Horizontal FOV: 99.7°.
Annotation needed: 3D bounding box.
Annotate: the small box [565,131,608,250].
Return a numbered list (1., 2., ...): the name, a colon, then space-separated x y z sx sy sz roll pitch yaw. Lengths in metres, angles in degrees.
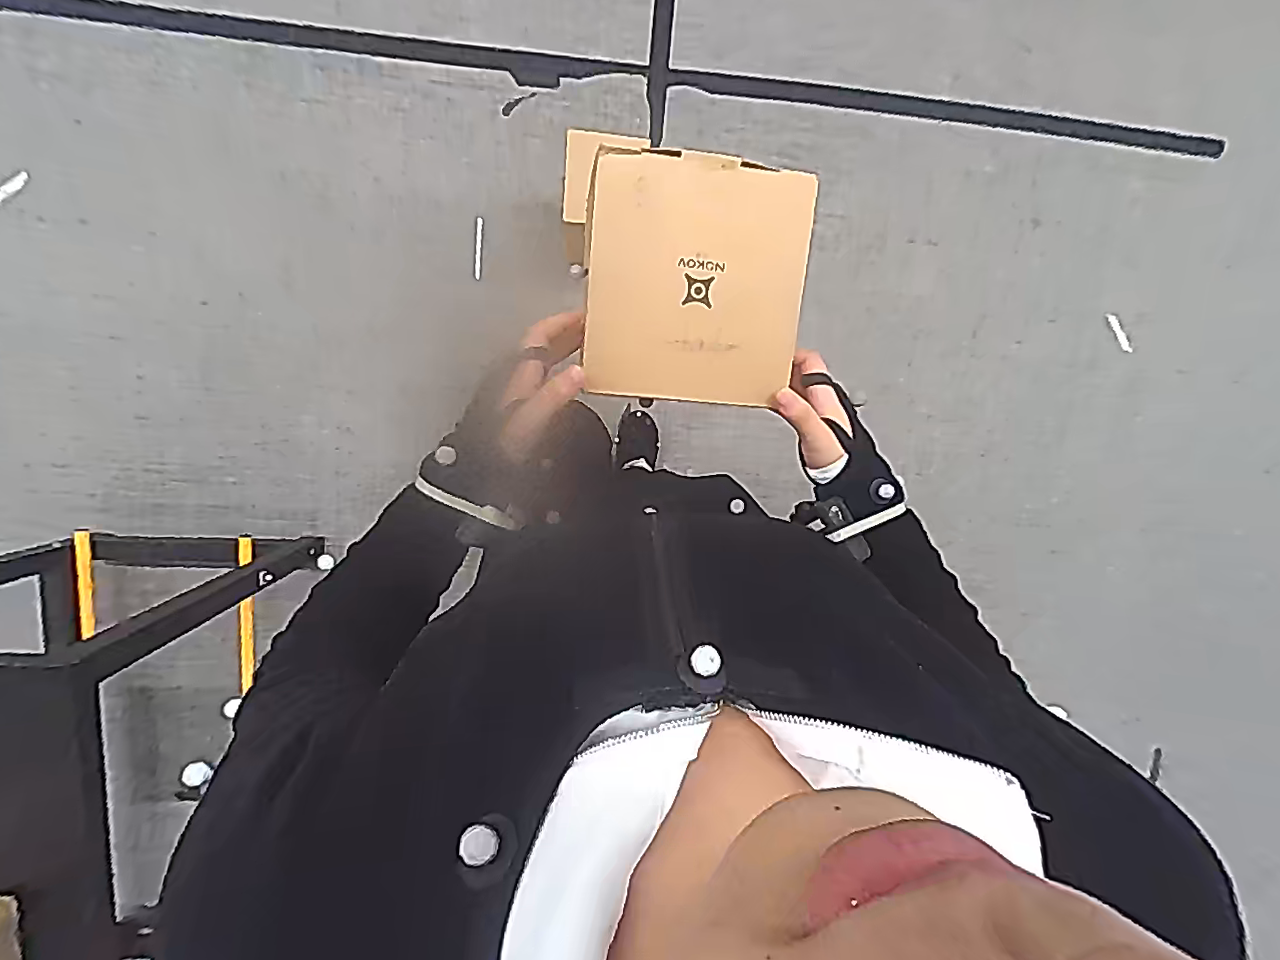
1. small box: -0.070 -0.597 1.145 0.168 0.176 0.179 4 98 -6

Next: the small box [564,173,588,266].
1. small box: -0.090 -0.619 1.307 0.179 0.176 0.168 0 98 -6

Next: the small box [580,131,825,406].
1. small box: 0.037 -0.166 0.474 0.168 0.176 0.179 4 103 -8
